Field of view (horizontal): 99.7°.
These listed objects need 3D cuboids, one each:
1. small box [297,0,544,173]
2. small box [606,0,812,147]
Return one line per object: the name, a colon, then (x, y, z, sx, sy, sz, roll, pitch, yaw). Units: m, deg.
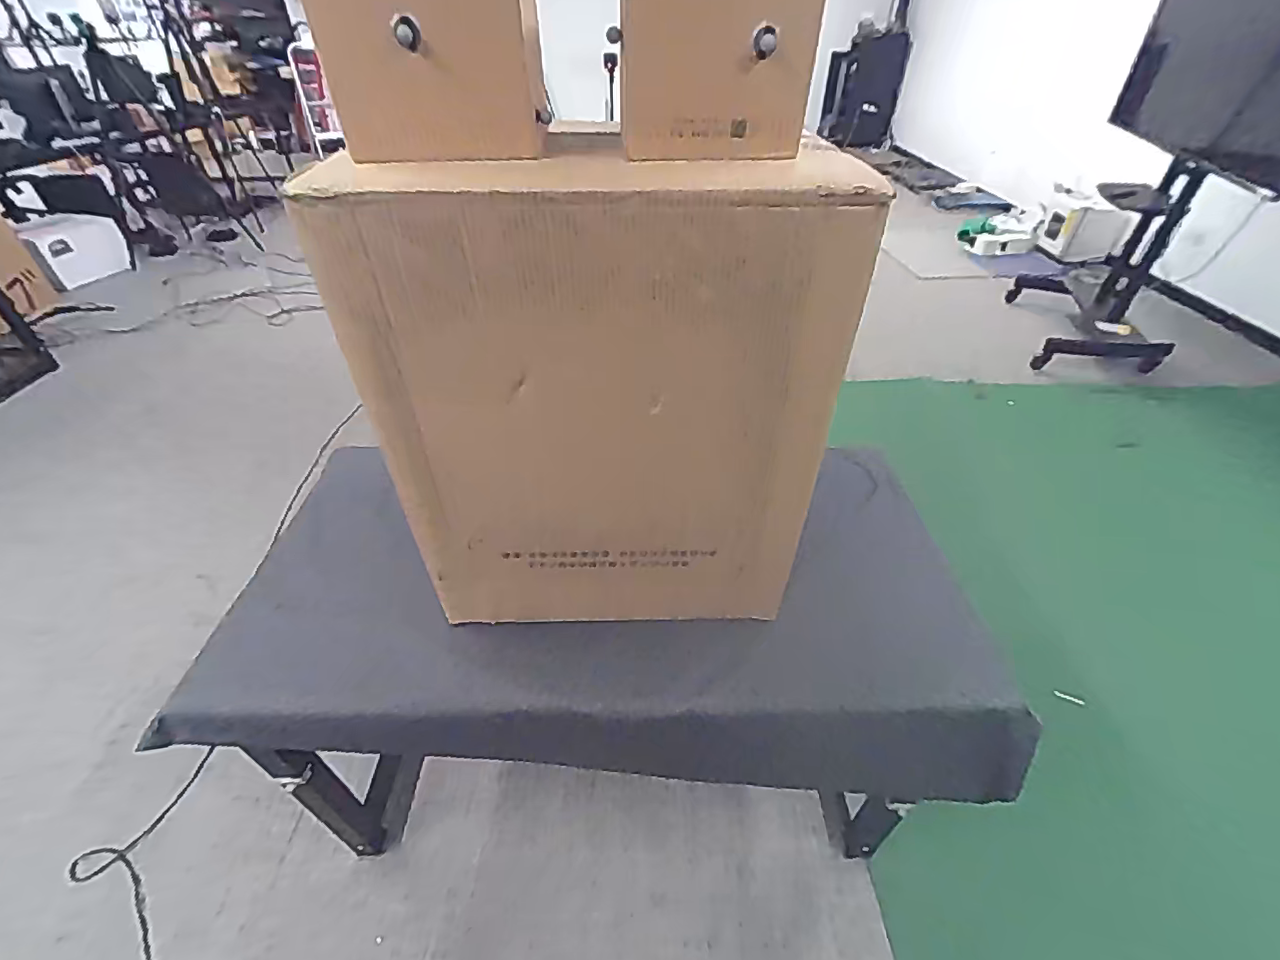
small box: (-0.192, -0.411, 0.520, 0.179, 0.176, 0.168, -4, 43, -2)
small box: (0.057, -0.430, 0.515, 0.168, 0.176, 0.179, -5, 44, -6)
